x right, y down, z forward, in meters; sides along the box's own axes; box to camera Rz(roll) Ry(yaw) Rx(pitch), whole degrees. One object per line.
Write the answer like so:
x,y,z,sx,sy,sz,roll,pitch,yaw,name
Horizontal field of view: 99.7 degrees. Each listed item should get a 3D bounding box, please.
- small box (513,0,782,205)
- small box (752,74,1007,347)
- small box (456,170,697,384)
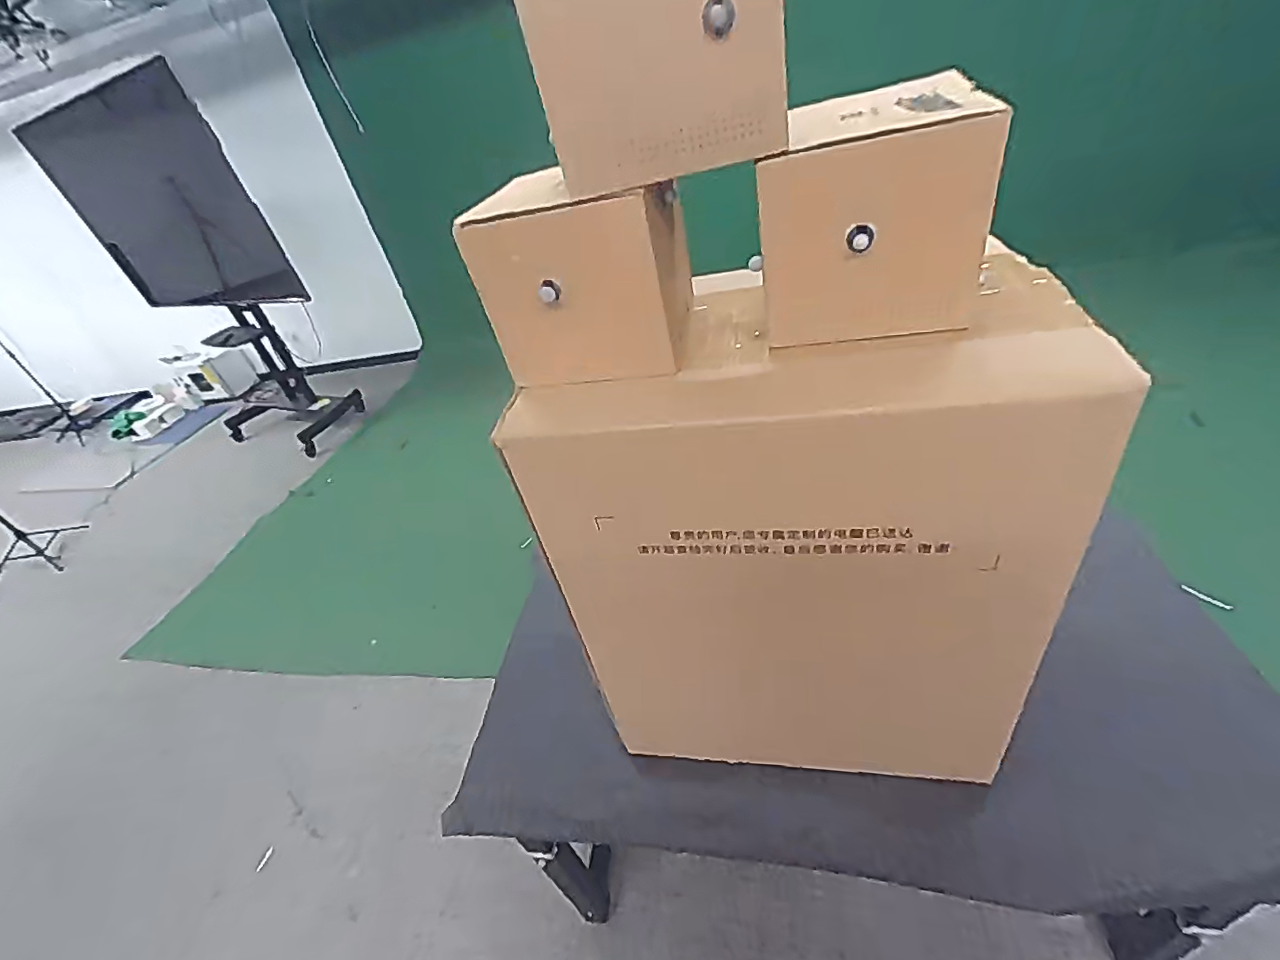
0.013,-0.343,0.431,0.179,0.176,0.168,-10,39,9,small box
0.203,-0.242,0.502,0.179,0.176,0.168,-3,42,17,small box
-0.048,-0.212,0.556,0.179,0.176,0.168,-2,42,17,small box
